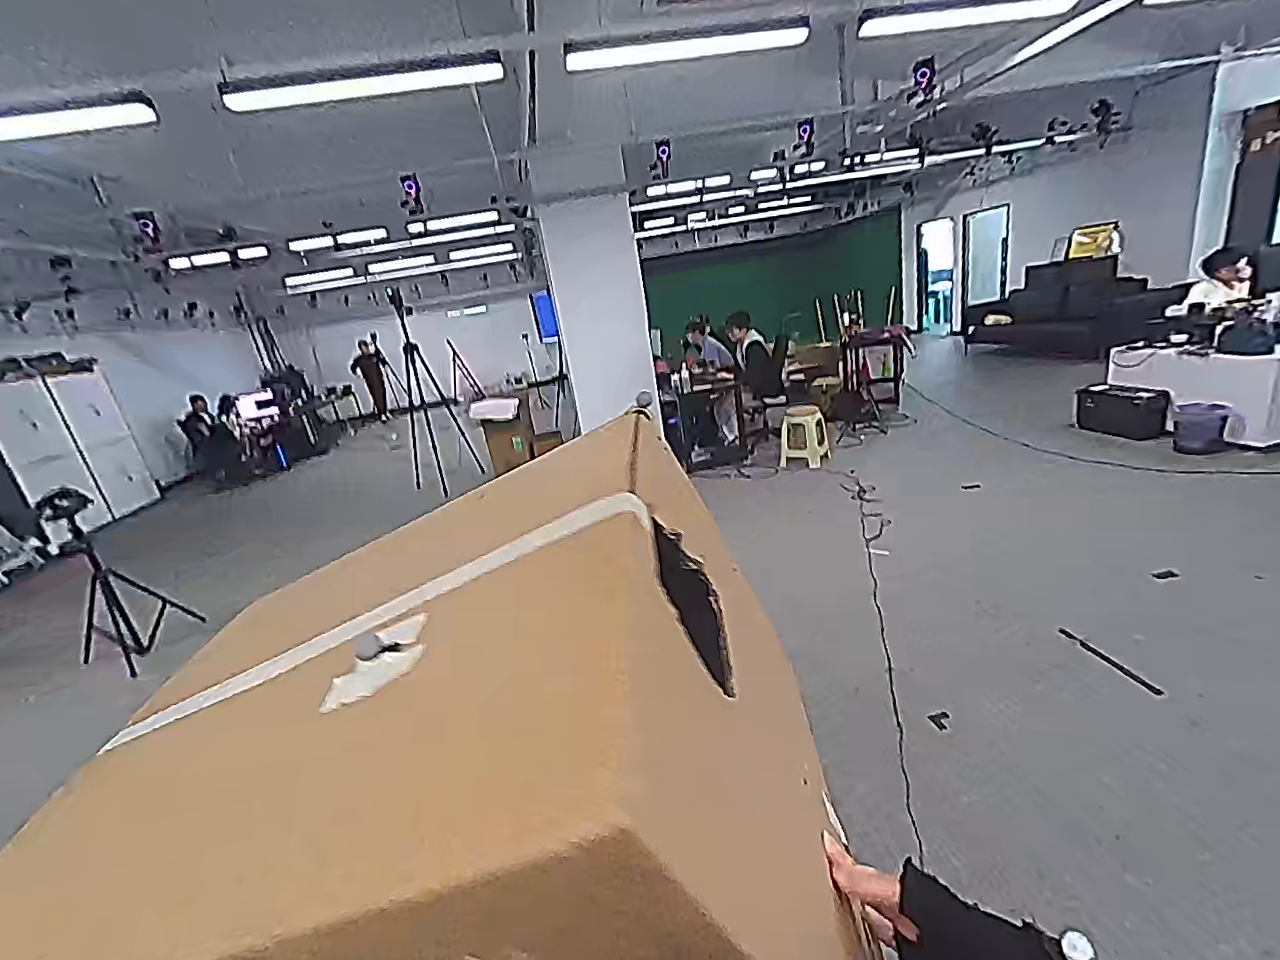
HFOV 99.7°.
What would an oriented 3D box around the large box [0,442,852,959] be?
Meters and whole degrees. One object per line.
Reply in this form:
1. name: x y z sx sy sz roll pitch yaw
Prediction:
1. large box: -0.105 0.236 0.405 0.408 0.320 0.320 -25 25 13
